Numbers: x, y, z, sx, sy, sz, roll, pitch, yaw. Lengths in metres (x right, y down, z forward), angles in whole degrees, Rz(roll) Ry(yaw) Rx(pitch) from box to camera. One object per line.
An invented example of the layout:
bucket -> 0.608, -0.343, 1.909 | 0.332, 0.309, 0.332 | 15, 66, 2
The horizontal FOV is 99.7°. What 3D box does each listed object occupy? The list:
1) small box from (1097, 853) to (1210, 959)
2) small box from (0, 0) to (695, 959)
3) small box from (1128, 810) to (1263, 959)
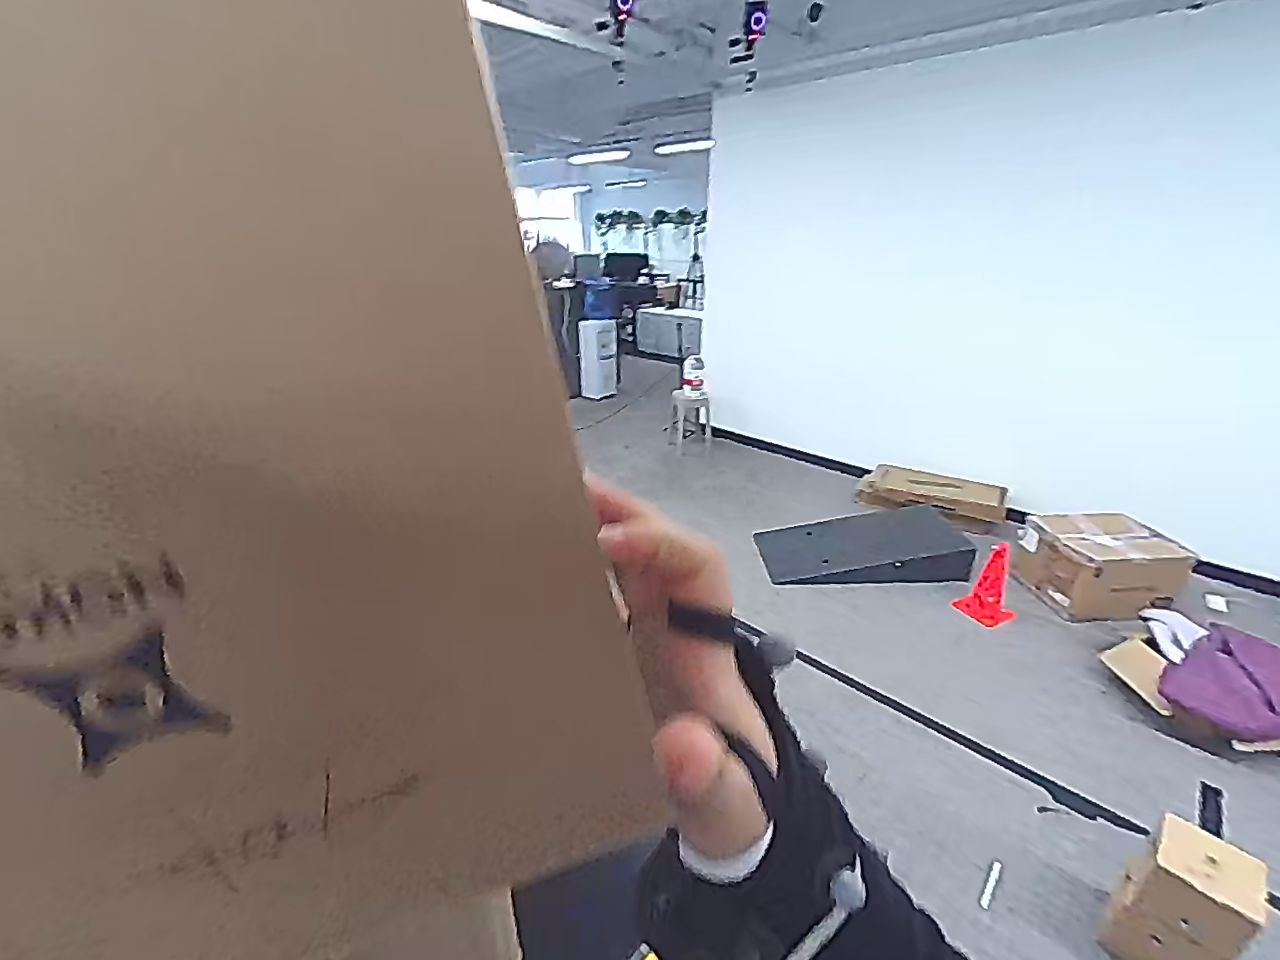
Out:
small box -> 1.228, 1.053, 1.280 | 0.168, 0.176, 0.179 | -22, 33, -38
small box -> -0.097, 0.007, 0.159 | 0.168, 0.179, 0.176 | -15, 26, -8
small box -> 1.237, 0.904, 1.210 | 0.179, 0.176, 0.168 | -22, 32, -38
